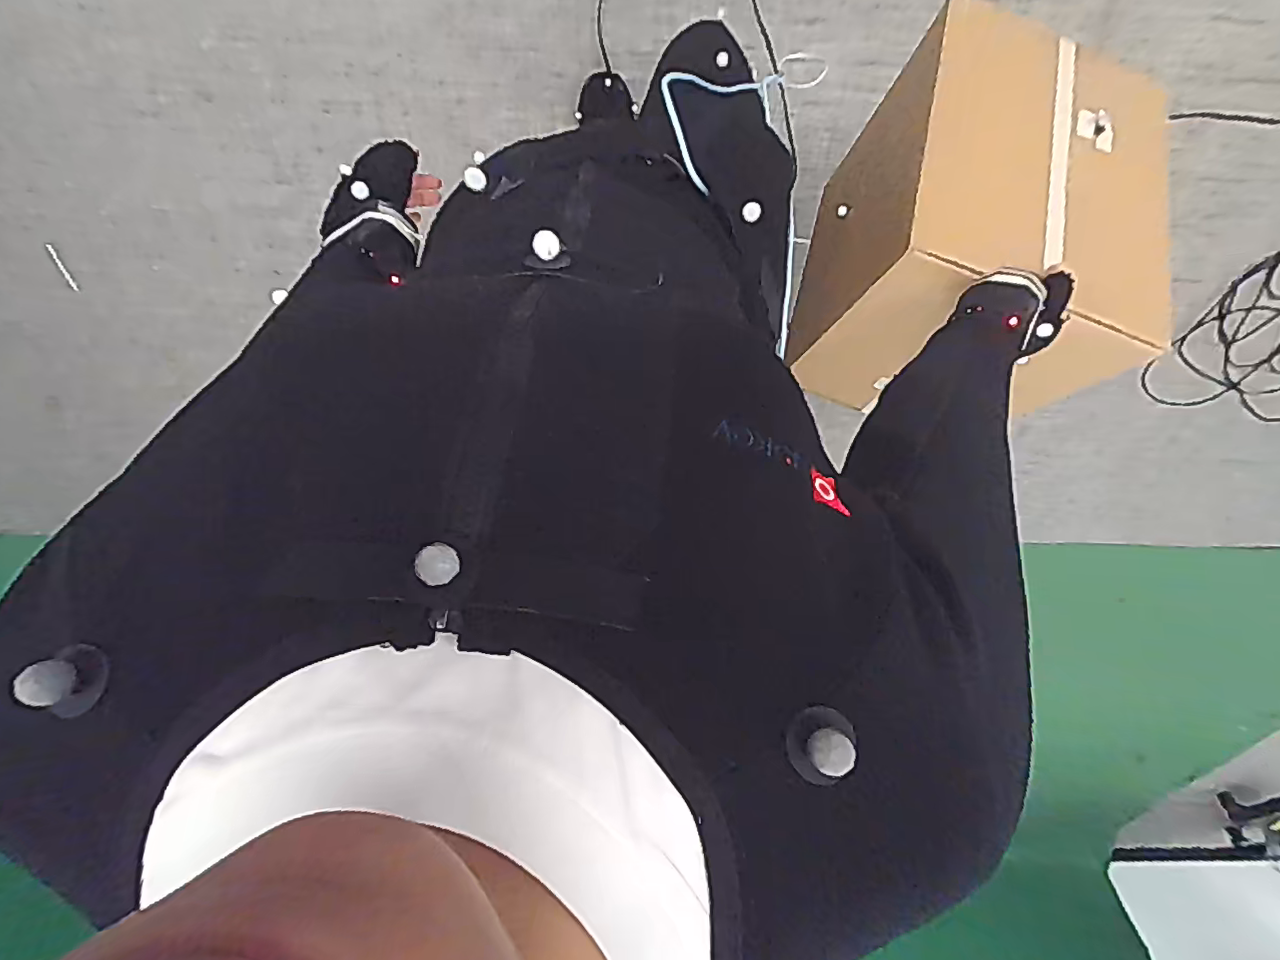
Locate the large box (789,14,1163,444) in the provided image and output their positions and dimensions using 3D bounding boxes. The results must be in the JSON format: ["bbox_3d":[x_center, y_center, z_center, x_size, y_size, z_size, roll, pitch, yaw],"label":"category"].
[{"bbox_3d":[0.446,-0.317,0.771,0.320,0.408,0.320,19,162,-7],"label":"large box"}]
